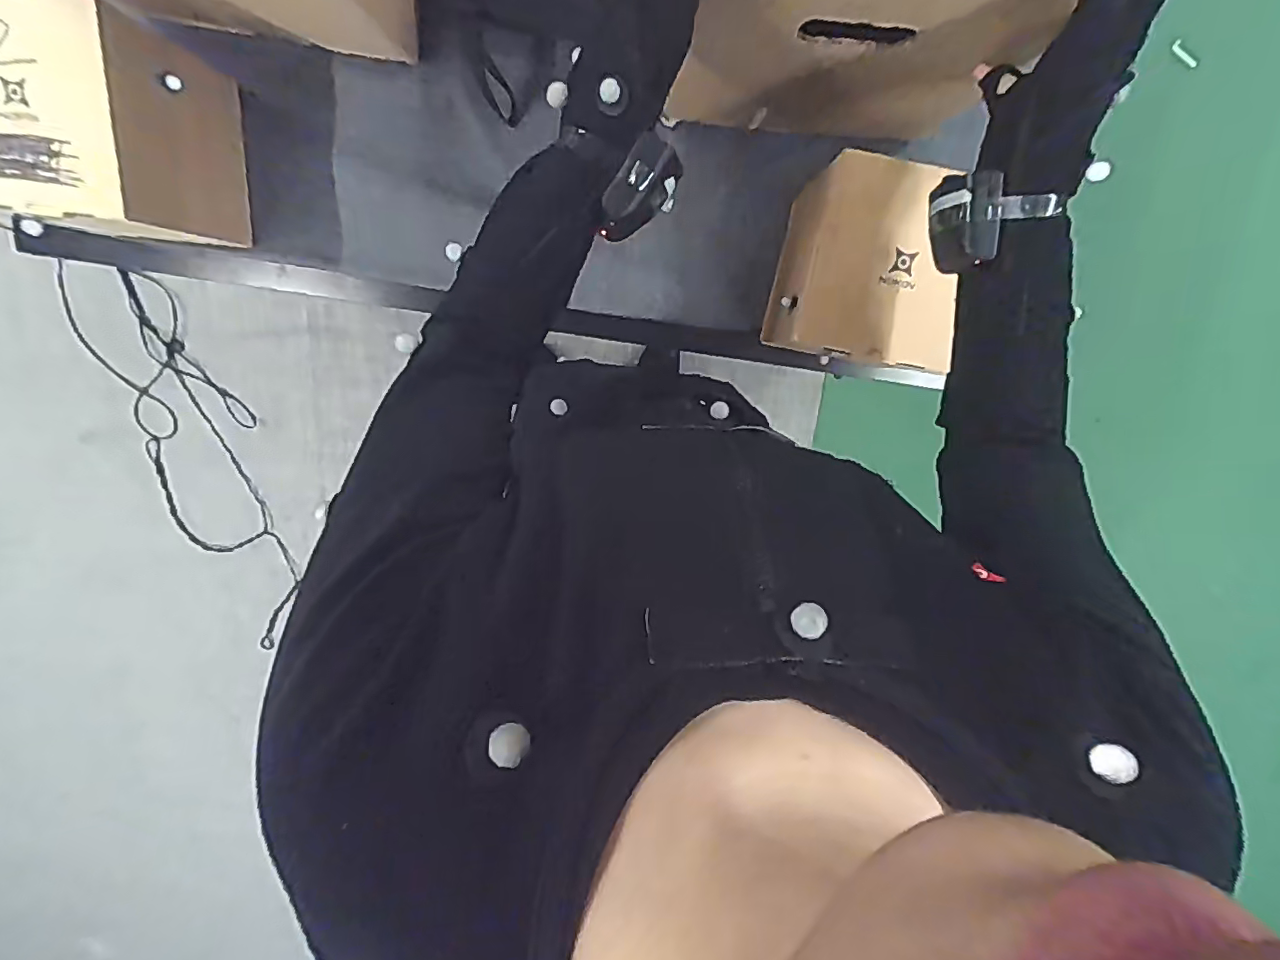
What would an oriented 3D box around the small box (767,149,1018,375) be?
[{"bbox_3d":[0.249,-0.222,0.585,0.168,0.176,0.179,11,106,-2],"label":"small box"}]
